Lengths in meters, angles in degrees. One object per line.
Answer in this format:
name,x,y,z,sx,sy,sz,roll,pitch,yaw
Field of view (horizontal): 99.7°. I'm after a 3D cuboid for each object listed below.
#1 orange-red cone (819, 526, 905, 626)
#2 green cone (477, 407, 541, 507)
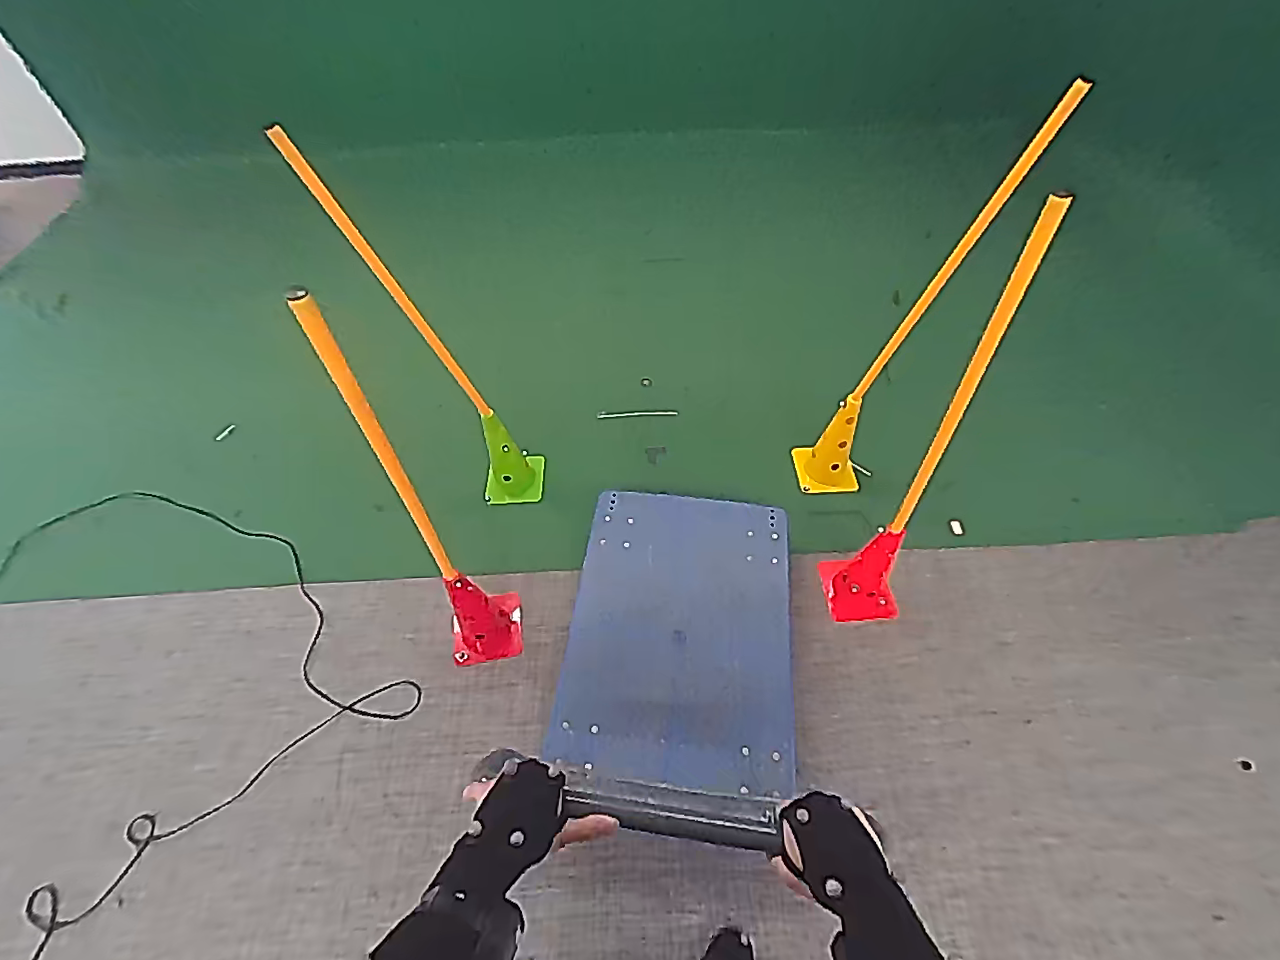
orange-red cone,0.646,0.237,1.486,0.198,0.360,0.199,-2,51,-1
green cone,-0.461,-0.095,1.772,0.200,0.368,0.202,-4,52,0
